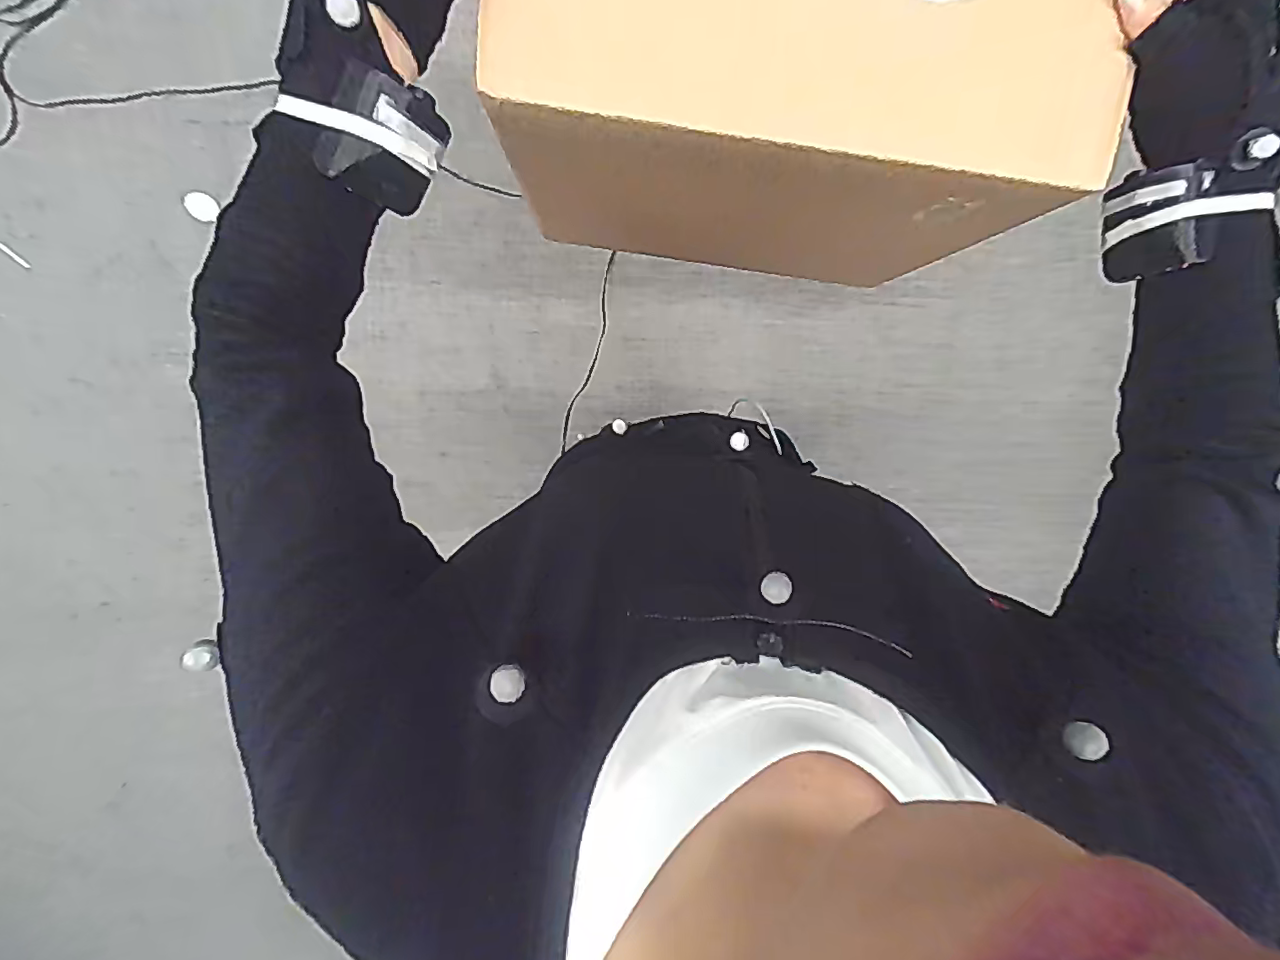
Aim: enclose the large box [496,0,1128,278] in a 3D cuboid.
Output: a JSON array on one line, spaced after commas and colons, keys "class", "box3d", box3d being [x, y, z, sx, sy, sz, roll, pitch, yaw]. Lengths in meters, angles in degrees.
[{"class": "large box", "box3d": [0.111, -0.389, 0.477, 0.408, 0.320, 0.320, 6, 99, -3]}]
